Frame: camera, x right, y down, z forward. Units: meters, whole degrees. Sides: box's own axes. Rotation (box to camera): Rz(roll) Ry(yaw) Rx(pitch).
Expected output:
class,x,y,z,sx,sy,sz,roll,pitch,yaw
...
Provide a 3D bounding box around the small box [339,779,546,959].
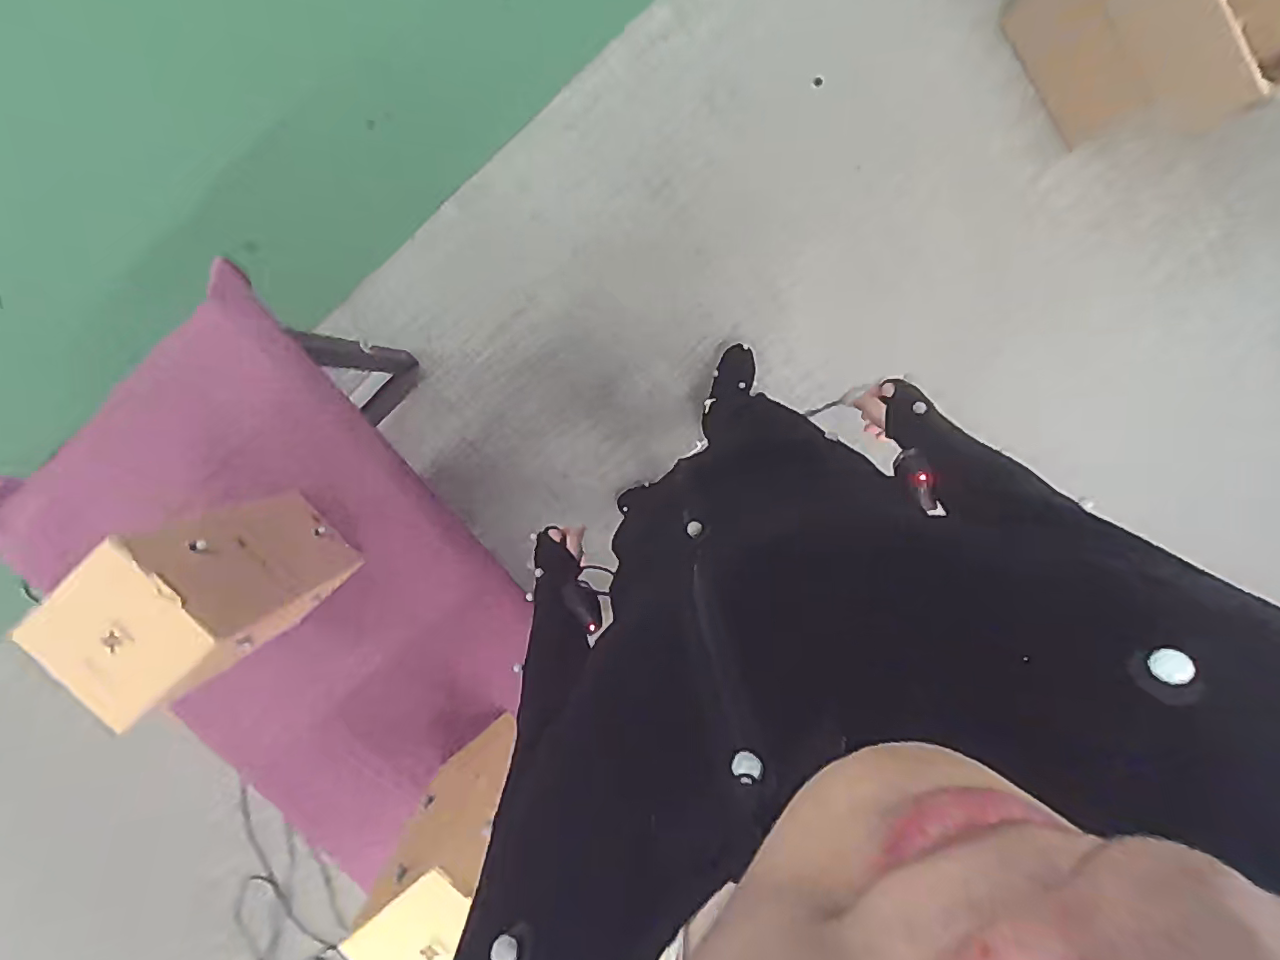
class,x,y,z,sx,sy,sz,roll,pitch,yaw
small box,-0.253,0.564,0.739,0.179,0.176,0.168,-43,94,6

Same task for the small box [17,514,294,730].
class,x,y,z,sx,sy,sz,roll,pitch,yaw
small box,-0.590,0.165,0.692,0.179,0.176,0.168,-41,95,7

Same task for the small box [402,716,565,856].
class,x,y,z,sx,sy,sz,roll,pitch,yaw
small box,-0.246,0.541,0.900,0.179,0.176,0.168,-41,95,7
